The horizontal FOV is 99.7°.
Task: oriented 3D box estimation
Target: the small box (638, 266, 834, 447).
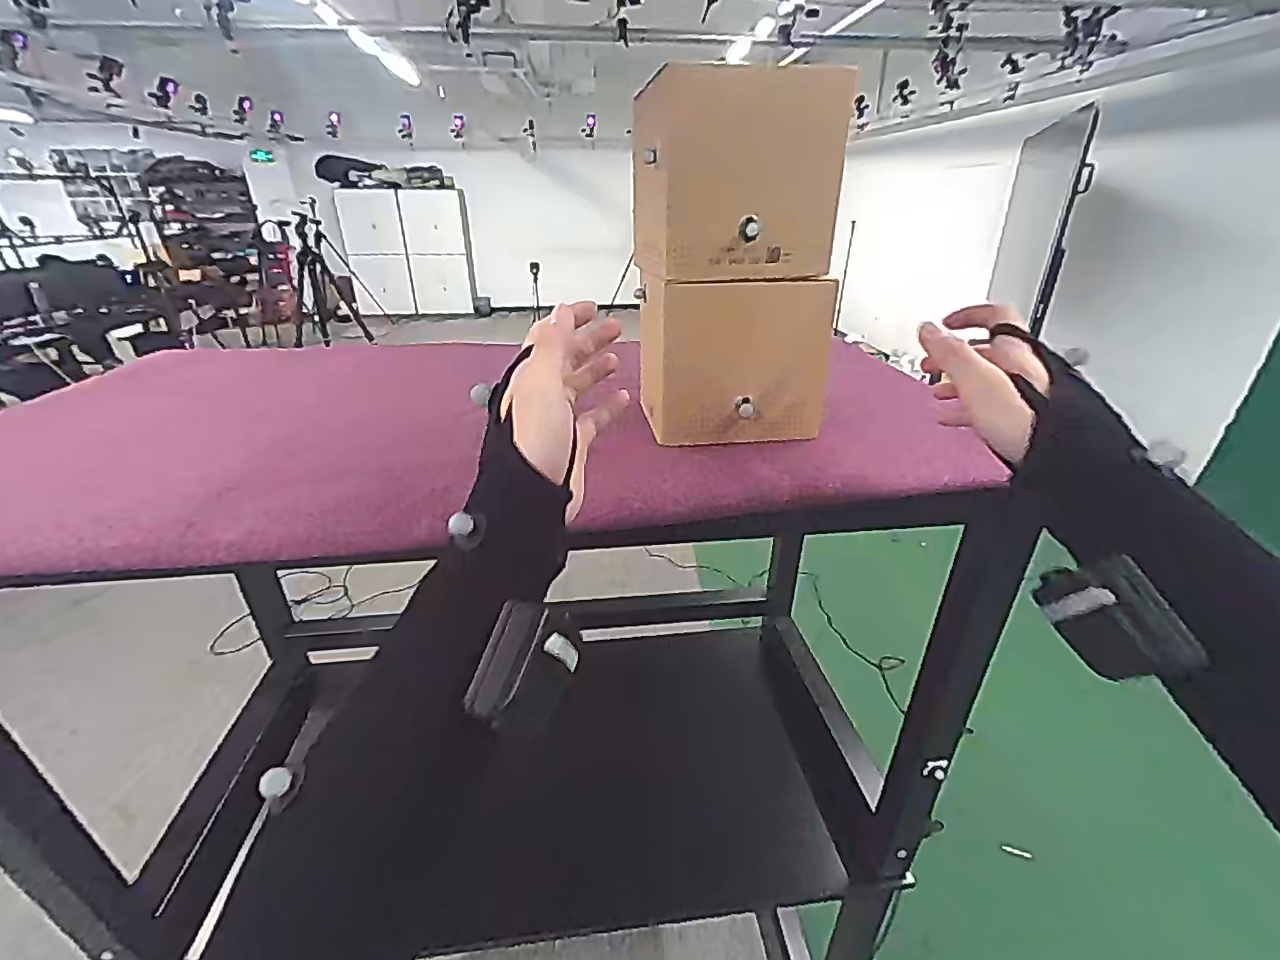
[{"bbox_3d":[0.092,-0.145,0.615,0.179,0.176,0.168,-3,25,-6],"label":"small box"}]
